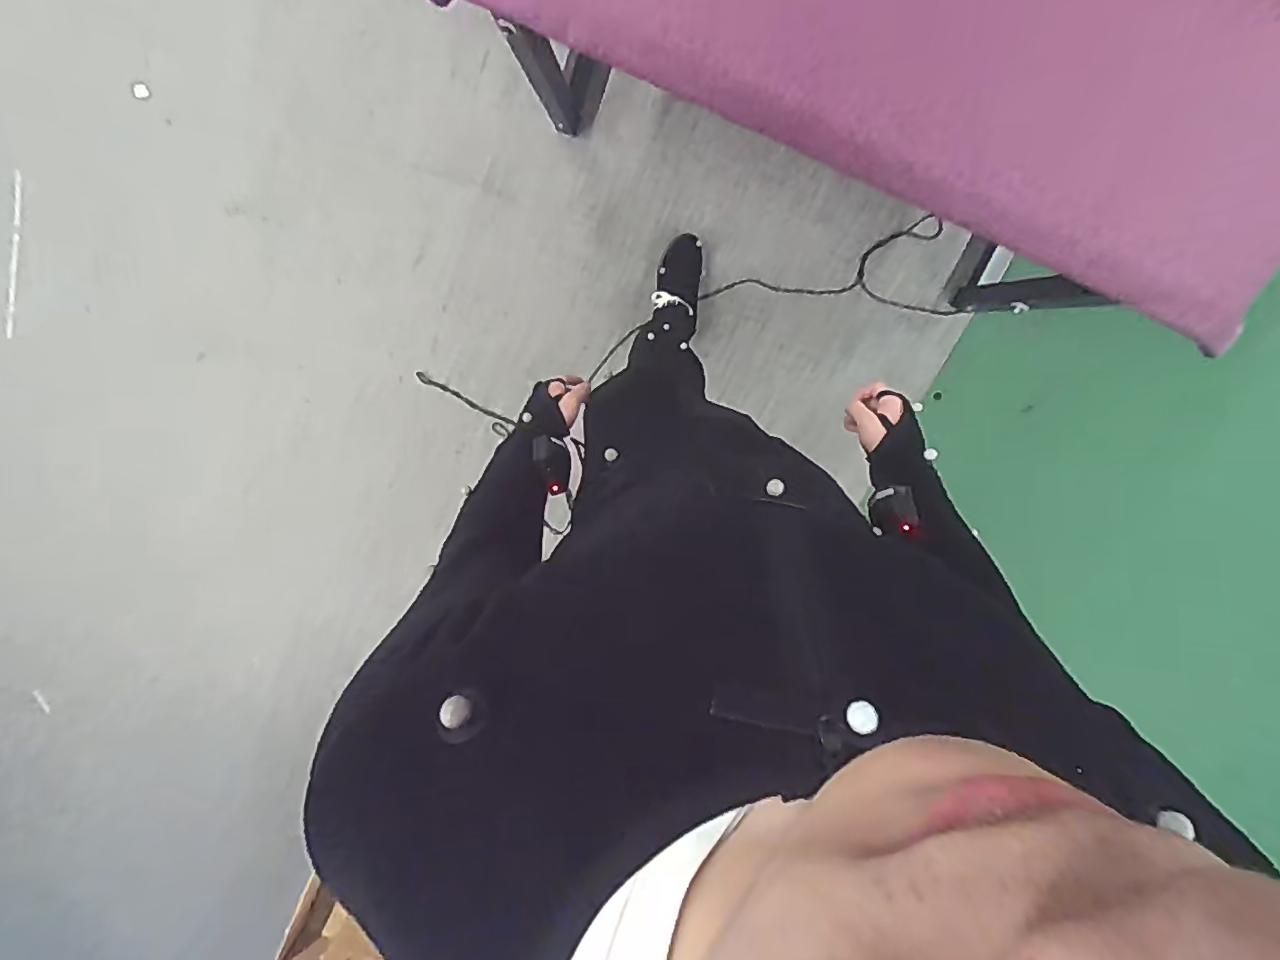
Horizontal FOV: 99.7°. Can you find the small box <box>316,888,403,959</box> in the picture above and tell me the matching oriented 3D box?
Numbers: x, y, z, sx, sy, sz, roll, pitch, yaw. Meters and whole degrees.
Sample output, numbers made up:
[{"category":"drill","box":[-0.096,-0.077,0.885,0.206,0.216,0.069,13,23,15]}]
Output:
[{"category":"small box","box":[-0.792,1.300,1.506,0.168,0.176,0.179,26,104,-6]}]
